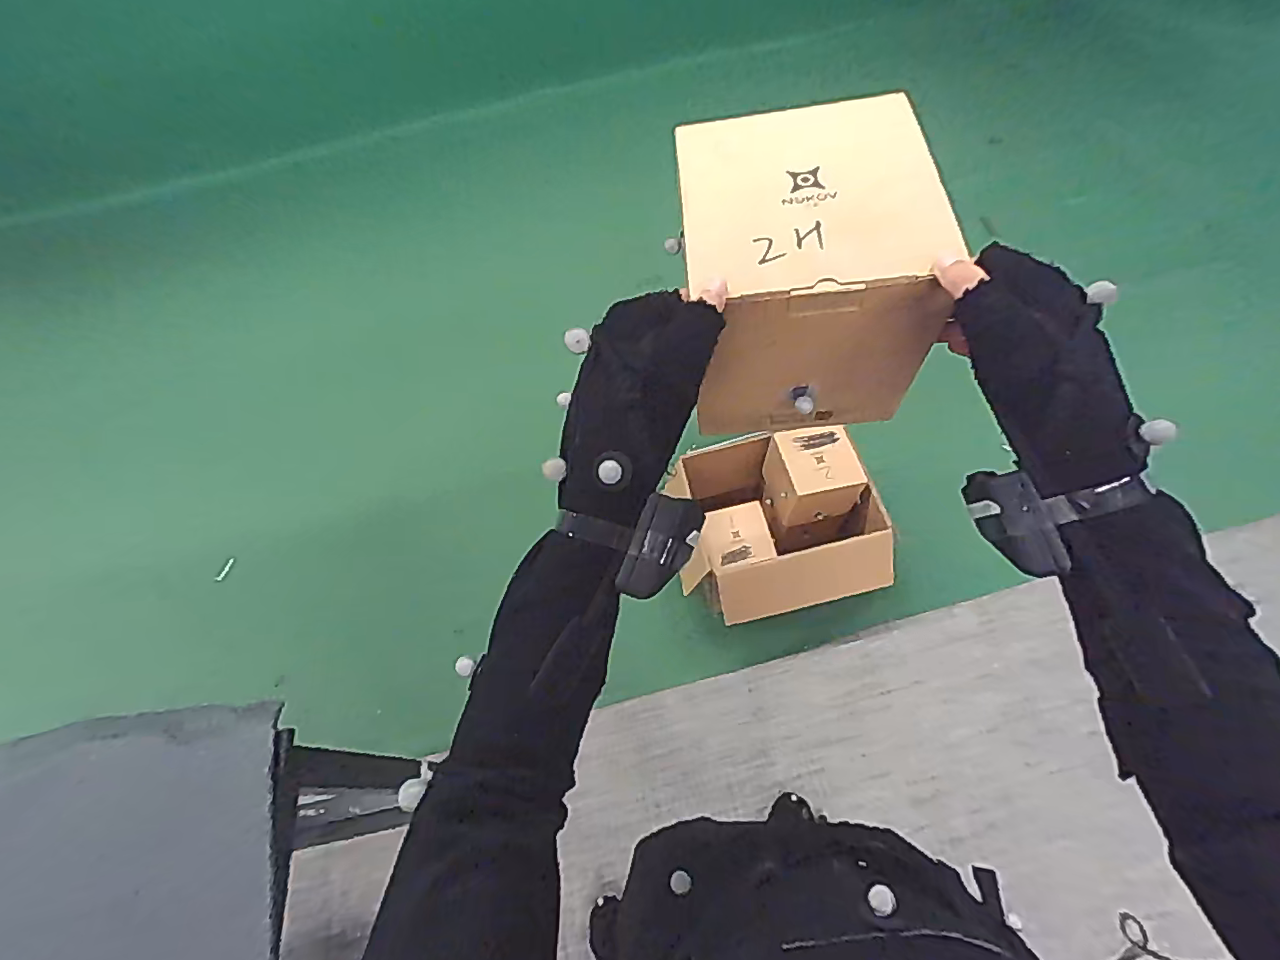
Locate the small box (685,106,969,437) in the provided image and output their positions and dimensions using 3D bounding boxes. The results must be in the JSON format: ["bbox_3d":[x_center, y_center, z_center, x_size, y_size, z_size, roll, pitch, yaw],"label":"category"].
[{"bbox_3d":[0.124,-0.155,0.435,0.168,0.176,0.179,-5,63,7],"label":"small box"}]
